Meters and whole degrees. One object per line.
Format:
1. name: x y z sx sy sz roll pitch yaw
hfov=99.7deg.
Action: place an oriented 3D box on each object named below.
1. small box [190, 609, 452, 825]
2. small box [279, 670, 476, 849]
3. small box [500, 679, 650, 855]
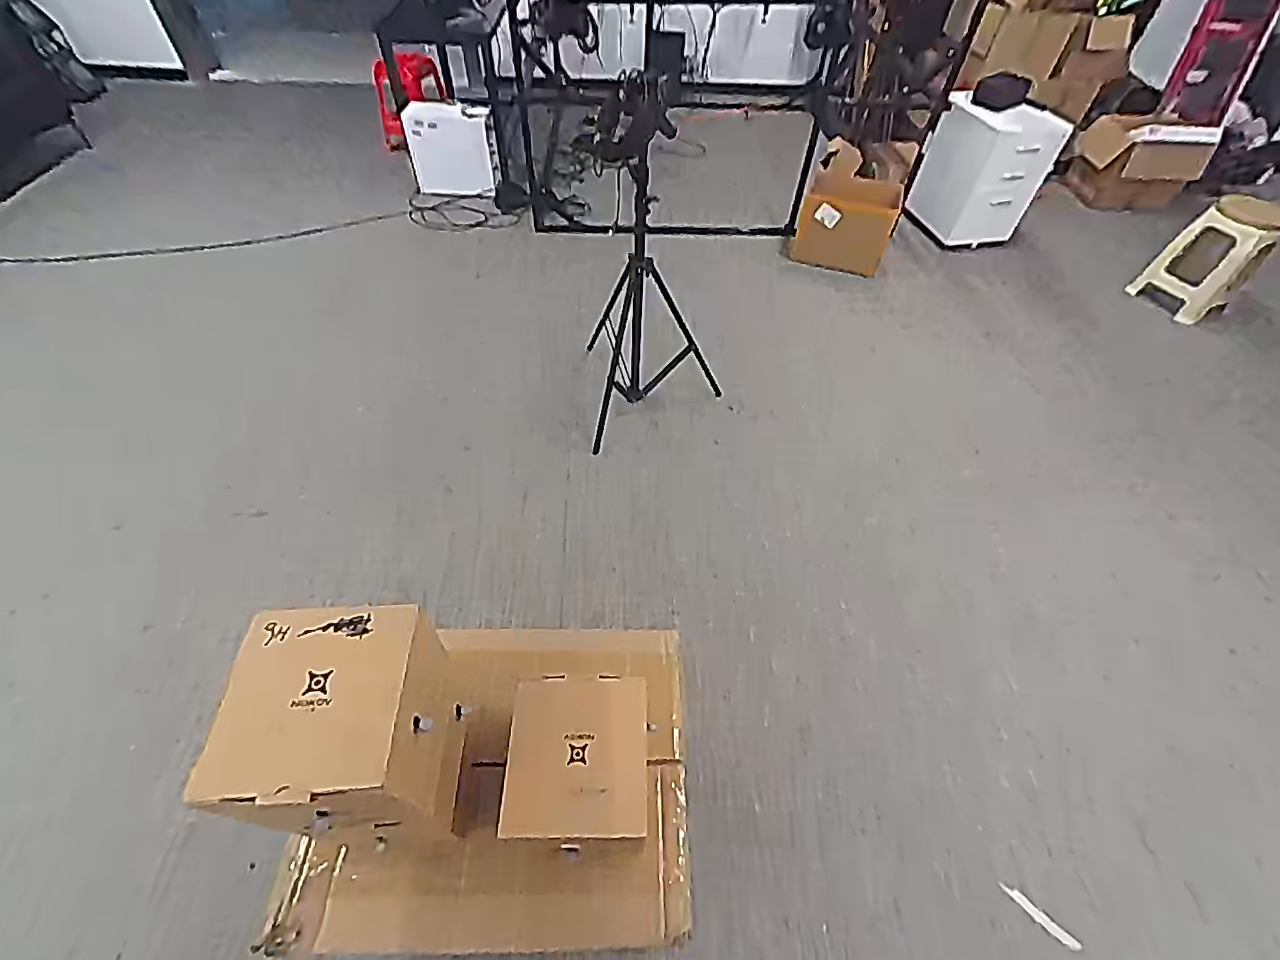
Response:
1. small box: -0.309 0.256 0.575 0.168 0.176 0.179 -2 51 -5
2. small box: -0.317 0.362 0.700 0.168 0.176 0.179 0 51 -4
3. small box: -0.073 0.374 0.703 0.168 0.176 0.179 -1 52 -1
